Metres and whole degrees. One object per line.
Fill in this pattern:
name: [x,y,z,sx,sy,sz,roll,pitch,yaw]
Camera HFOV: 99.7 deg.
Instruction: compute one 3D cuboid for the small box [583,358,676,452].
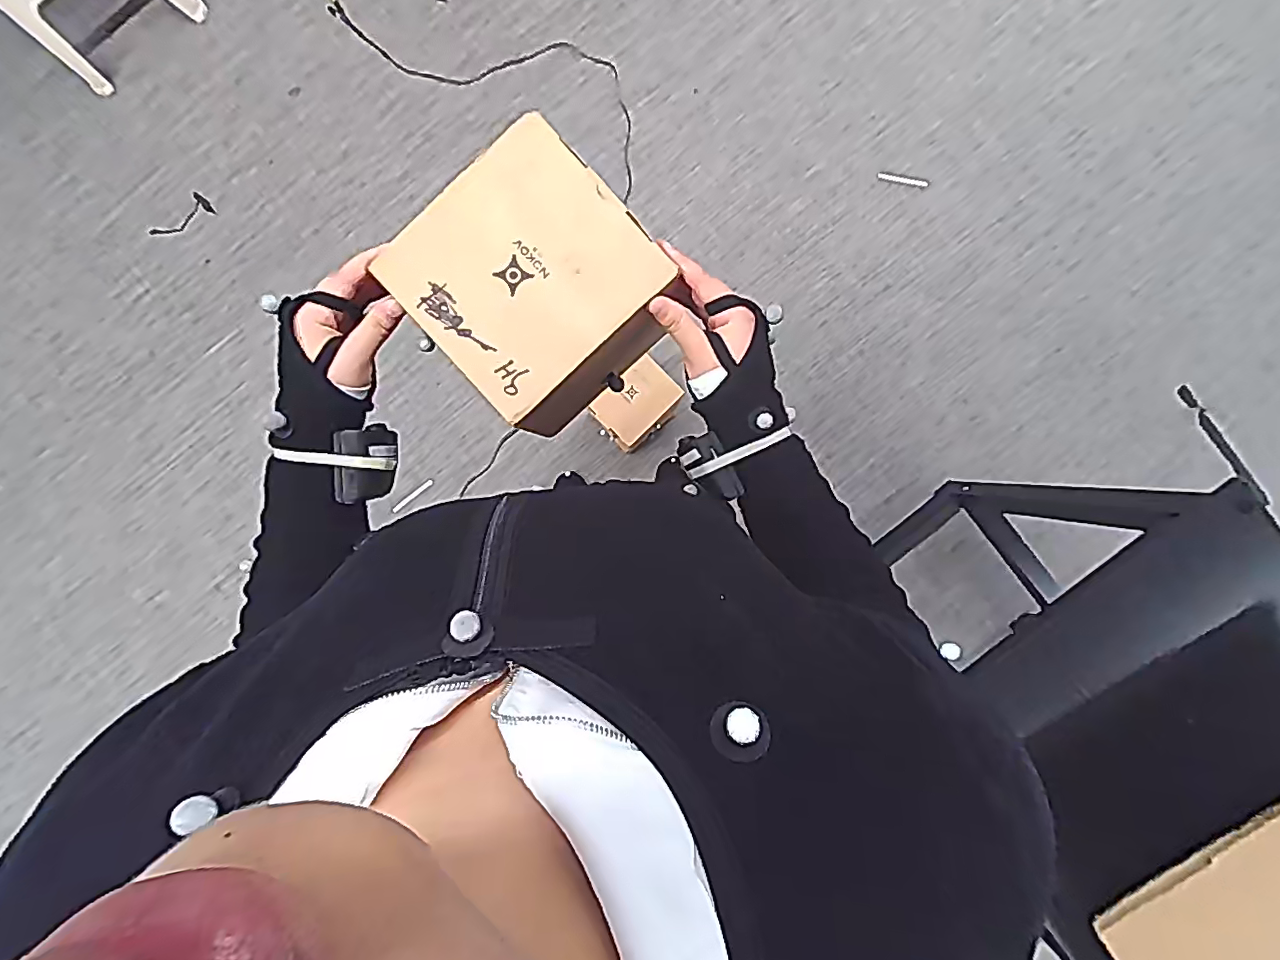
small box: [-0.027,-0.190,1.423,0.179,0.176,0.168,-42,90,1]
